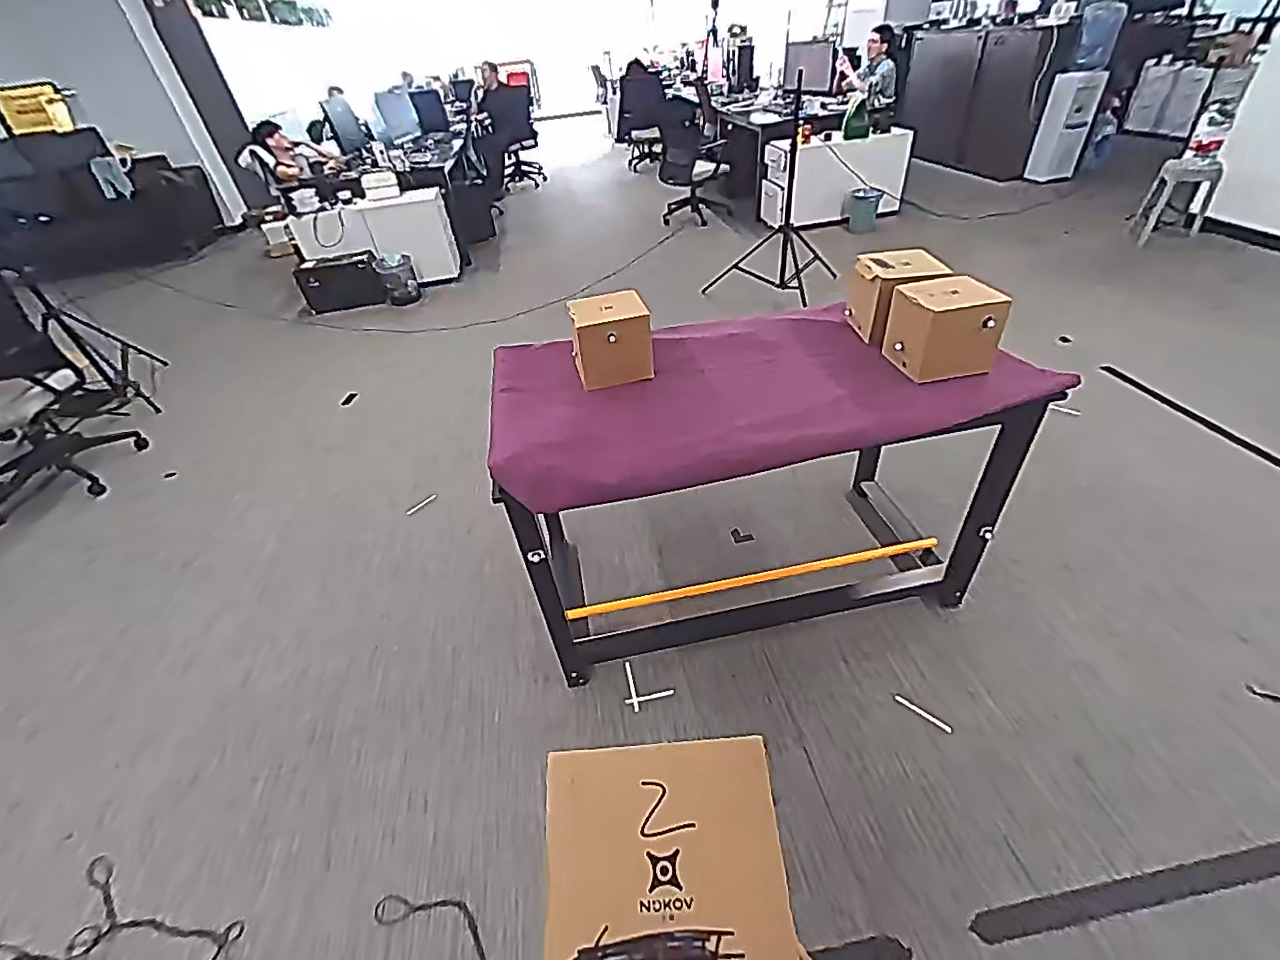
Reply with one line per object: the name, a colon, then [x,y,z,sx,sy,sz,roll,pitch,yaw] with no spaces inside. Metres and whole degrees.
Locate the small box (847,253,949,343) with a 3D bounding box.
small box: [0.643,-0.461,1.381,0.179,0.176,0.168,-6,41,-1]

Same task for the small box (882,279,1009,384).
small box: [0.679,-0.337,1.227,0.179,0.176,0.168,-10,38,-3]

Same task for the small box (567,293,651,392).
small box: [-0.074,-0.339,1.338,0.179,0.176,0.168,-13,40,-8]
